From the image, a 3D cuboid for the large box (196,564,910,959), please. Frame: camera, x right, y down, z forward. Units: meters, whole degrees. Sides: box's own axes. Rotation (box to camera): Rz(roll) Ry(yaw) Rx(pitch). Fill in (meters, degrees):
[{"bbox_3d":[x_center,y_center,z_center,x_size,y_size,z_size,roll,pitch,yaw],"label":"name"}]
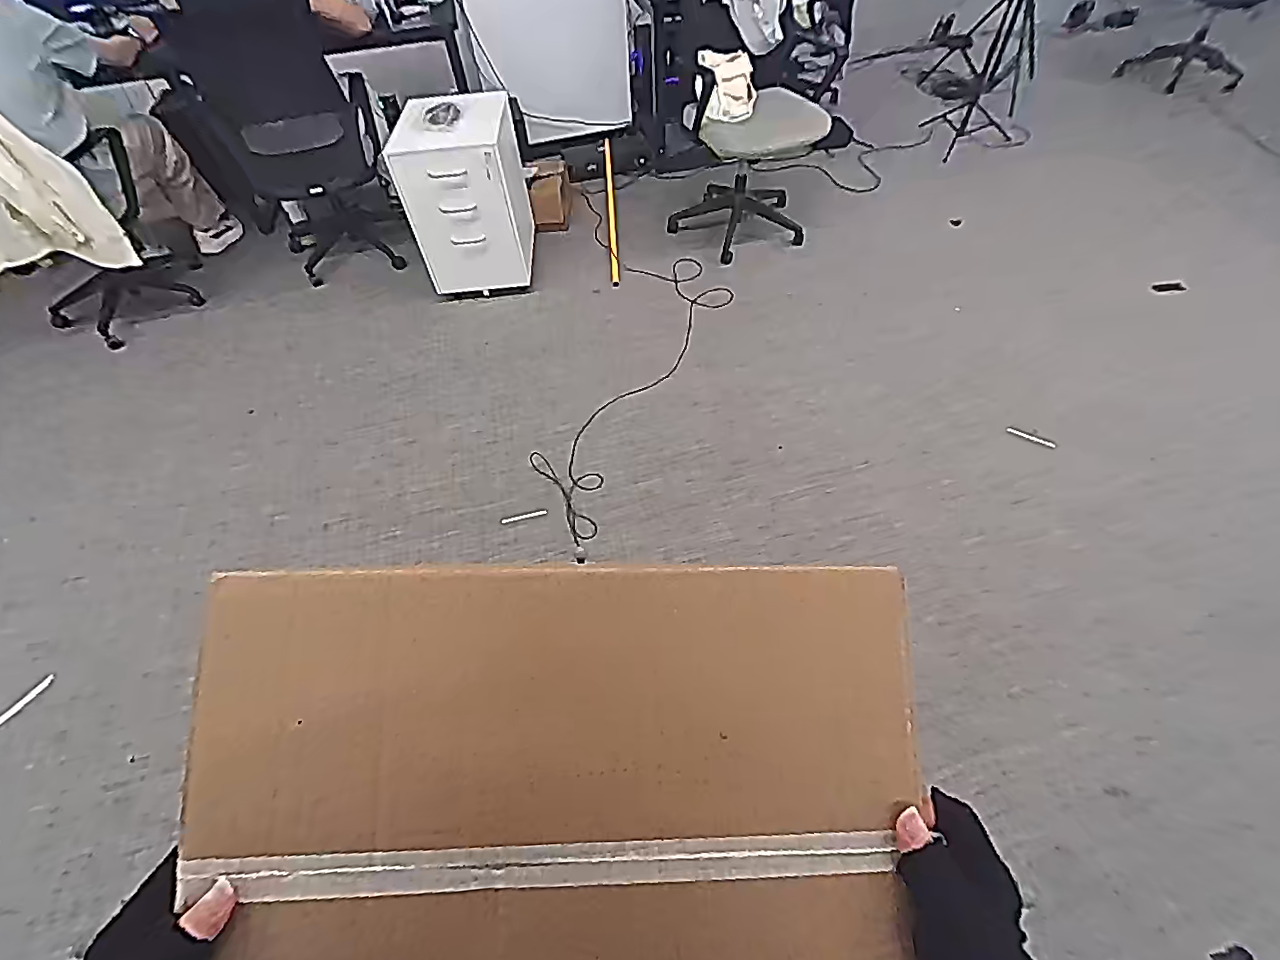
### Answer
[{"bbox_3d":[-0.048,0.236,0.457,0.408,0.320,0.320,0,82,-3],"label":"large box"}]
